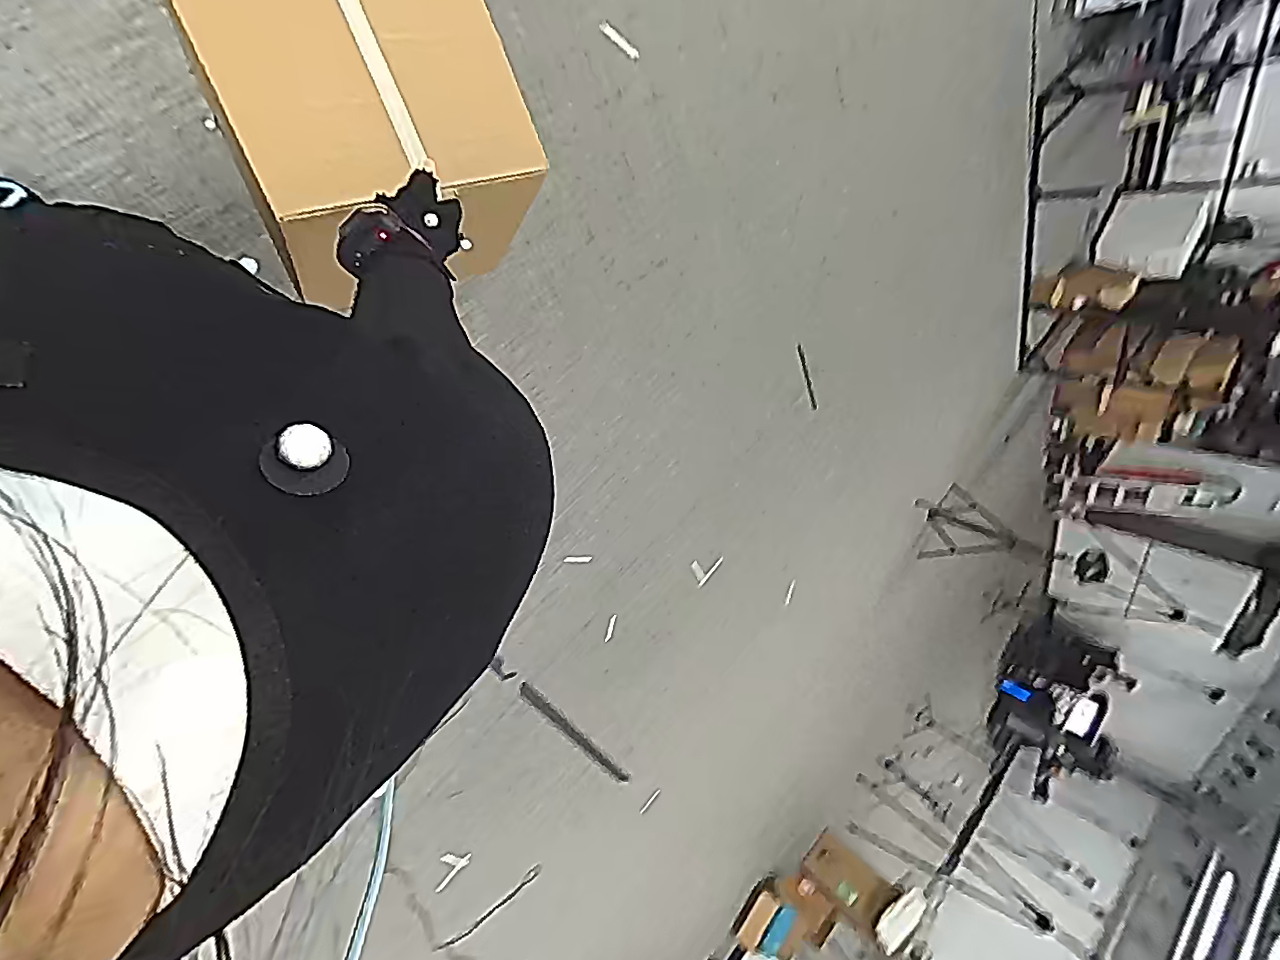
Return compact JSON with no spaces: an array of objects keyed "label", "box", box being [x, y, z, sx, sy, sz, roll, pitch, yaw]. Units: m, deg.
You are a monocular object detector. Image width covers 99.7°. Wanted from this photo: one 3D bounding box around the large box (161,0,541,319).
[{"label":"large box","box":[-0.389,-0.495,0.737,0.320,0.320,0.408,-27,98,-26]}]
